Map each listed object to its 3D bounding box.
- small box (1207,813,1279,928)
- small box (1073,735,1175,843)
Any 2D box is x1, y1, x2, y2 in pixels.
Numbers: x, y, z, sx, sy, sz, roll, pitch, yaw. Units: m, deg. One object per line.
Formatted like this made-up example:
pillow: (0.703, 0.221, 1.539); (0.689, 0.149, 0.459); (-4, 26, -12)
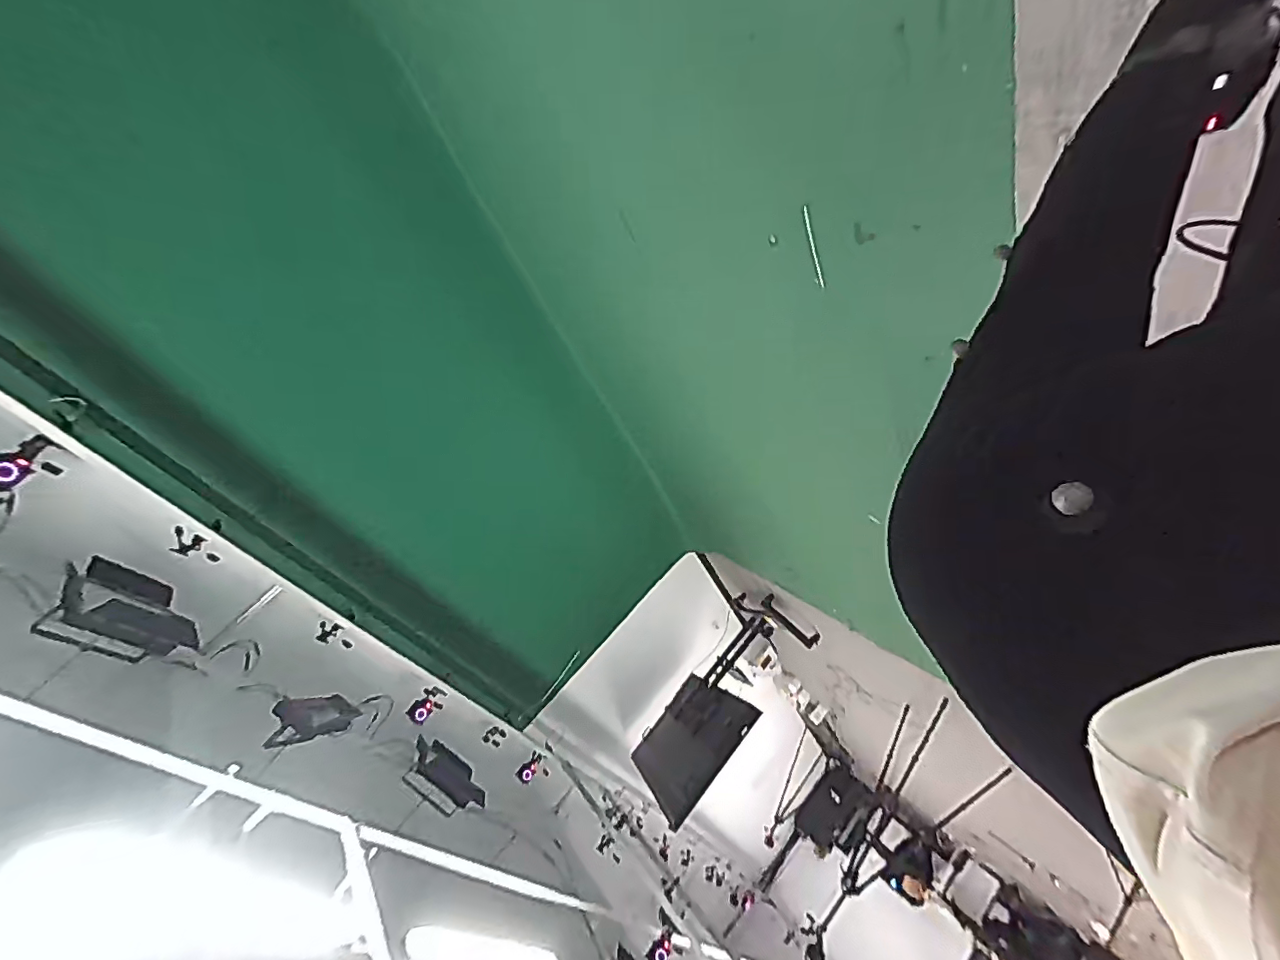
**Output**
small box: (1.512, 0.939, 1.290); (0.168, 0.176, 0.179); (25, 156, 49)
small box: (1.341, 0.855, 1.502); (0.168, 0.176, 0.179); (24, 153, 49)
